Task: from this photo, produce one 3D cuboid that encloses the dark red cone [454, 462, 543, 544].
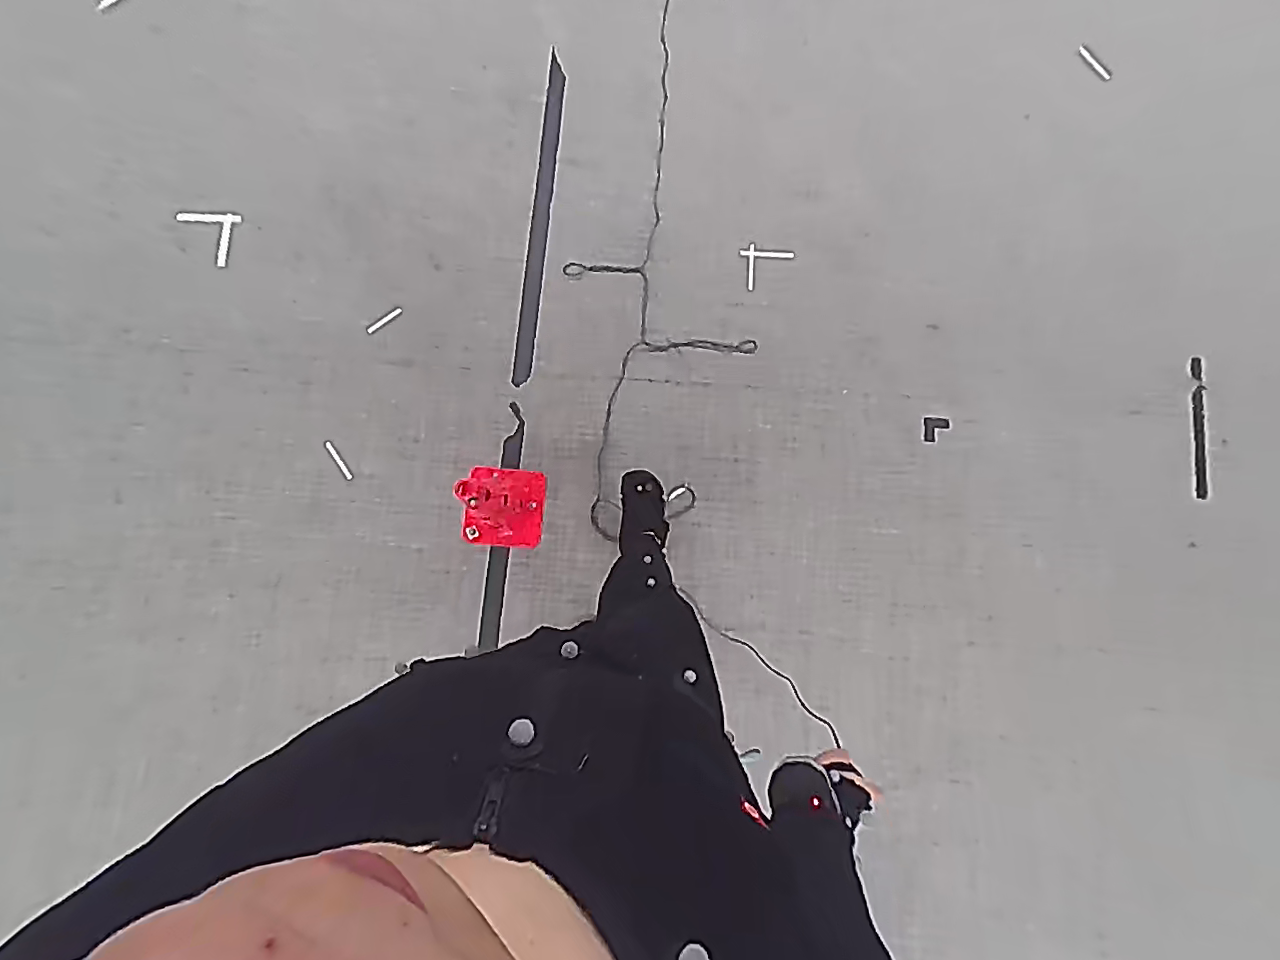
[{"bbox_3d":[-0.340,0.030,1.200,0.201,0.394,0.202,4,81,-2],"label":"dark red cone"}]
